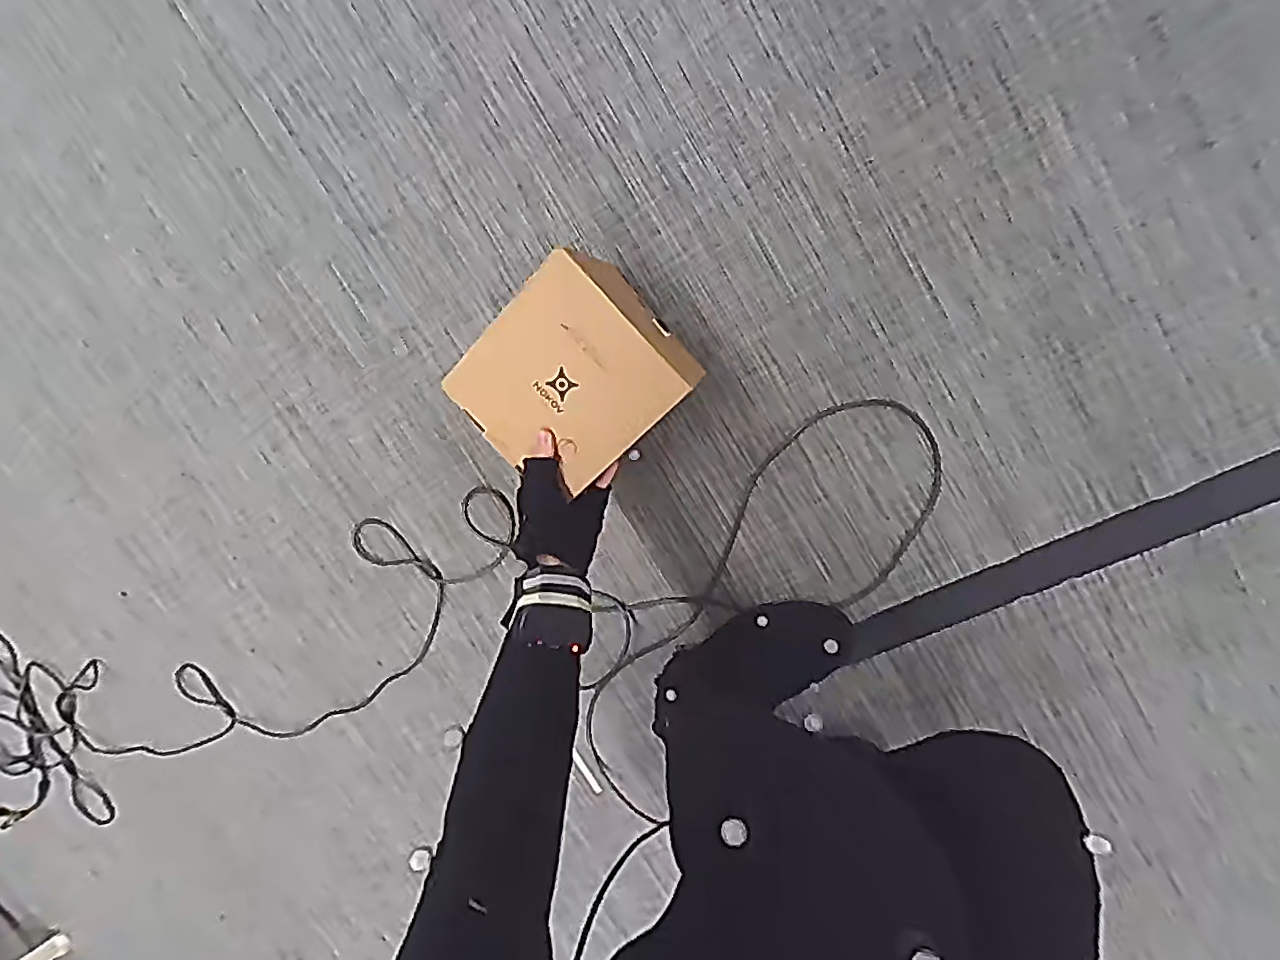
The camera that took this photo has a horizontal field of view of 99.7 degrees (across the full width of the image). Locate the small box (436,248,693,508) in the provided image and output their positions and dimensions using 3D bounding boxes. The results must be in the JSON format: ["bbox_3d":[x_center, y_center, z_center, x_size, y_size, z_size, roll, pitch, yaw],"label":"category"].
[{"bbox_3d":[-0.063,-0.105,0.559,0.168,0.176,0.179,46,110,-5],"label":"small box"}]
